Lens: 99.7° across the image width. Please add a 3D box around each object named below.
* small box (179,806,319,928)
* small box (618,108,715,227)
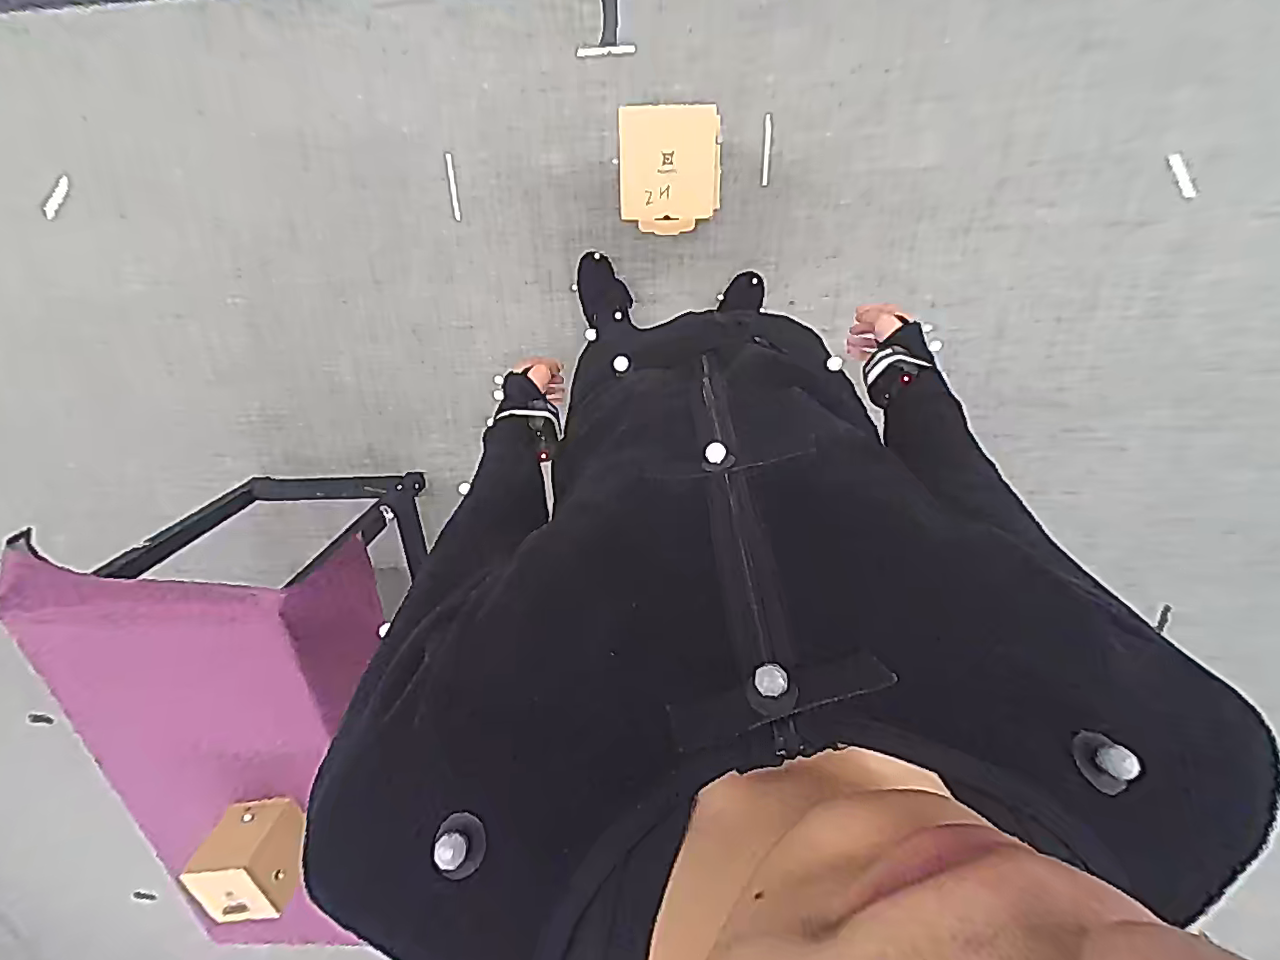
[{"bbox_3d":[-0.900,0.902,1.265,0.168,0.176,0.179,-11,113,7],"label":"small box"},{"bbox_3d":[0.045,-0.569,1.003,0.168,0.176,0.179,0,114,2],"label":"small box"}]
